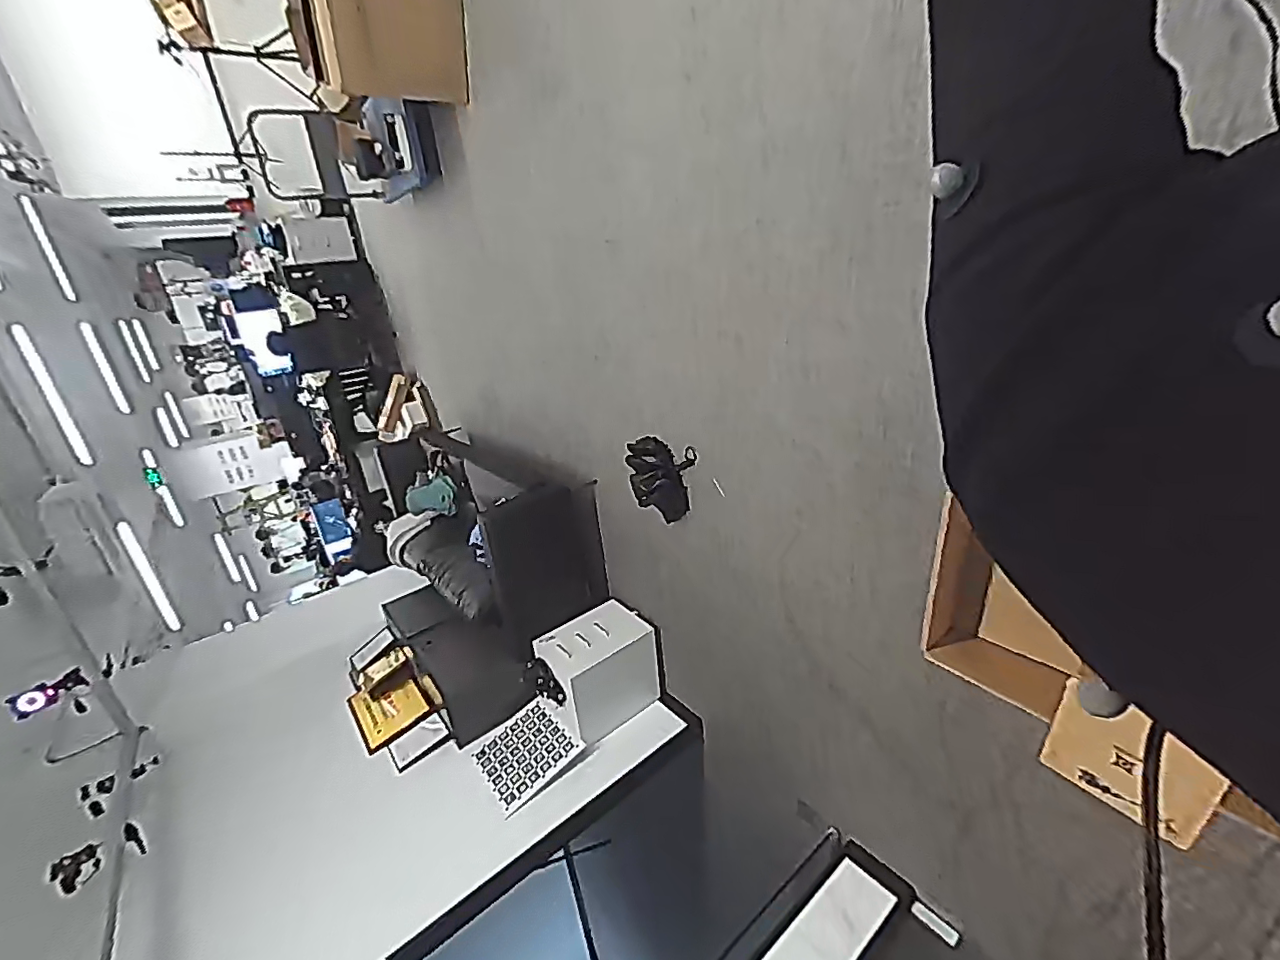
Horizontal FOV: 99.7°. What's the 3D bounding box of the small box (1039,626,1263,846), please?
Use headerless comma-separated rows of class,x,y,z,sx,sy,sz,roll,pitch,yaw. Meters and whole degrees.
small box,0.693,0.333,0.738,0.168,0.176,0.179,29,130,48
